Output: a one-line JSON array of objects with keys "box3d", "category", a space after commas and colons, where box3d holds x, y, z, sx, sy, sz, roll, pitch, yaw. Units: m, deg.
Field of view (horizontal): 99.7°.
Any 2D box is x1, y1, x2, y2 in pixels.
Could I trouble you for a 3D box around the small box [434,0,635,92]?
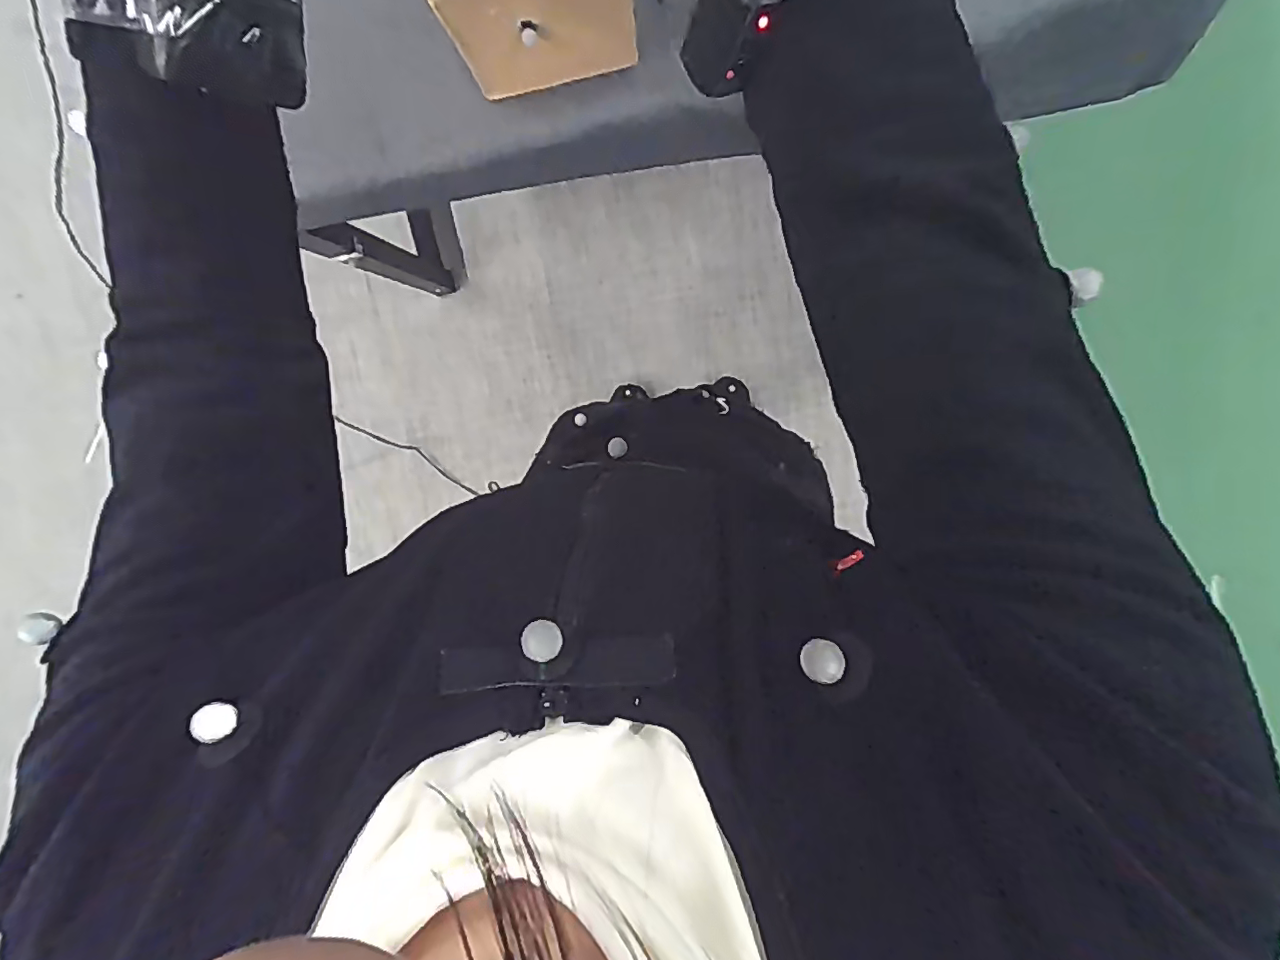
[{"box3d": [-0.108, -0.515, 0.519, 0.179, 0.176, 0.168, -10, 99, 5], "category": "small box"}]
